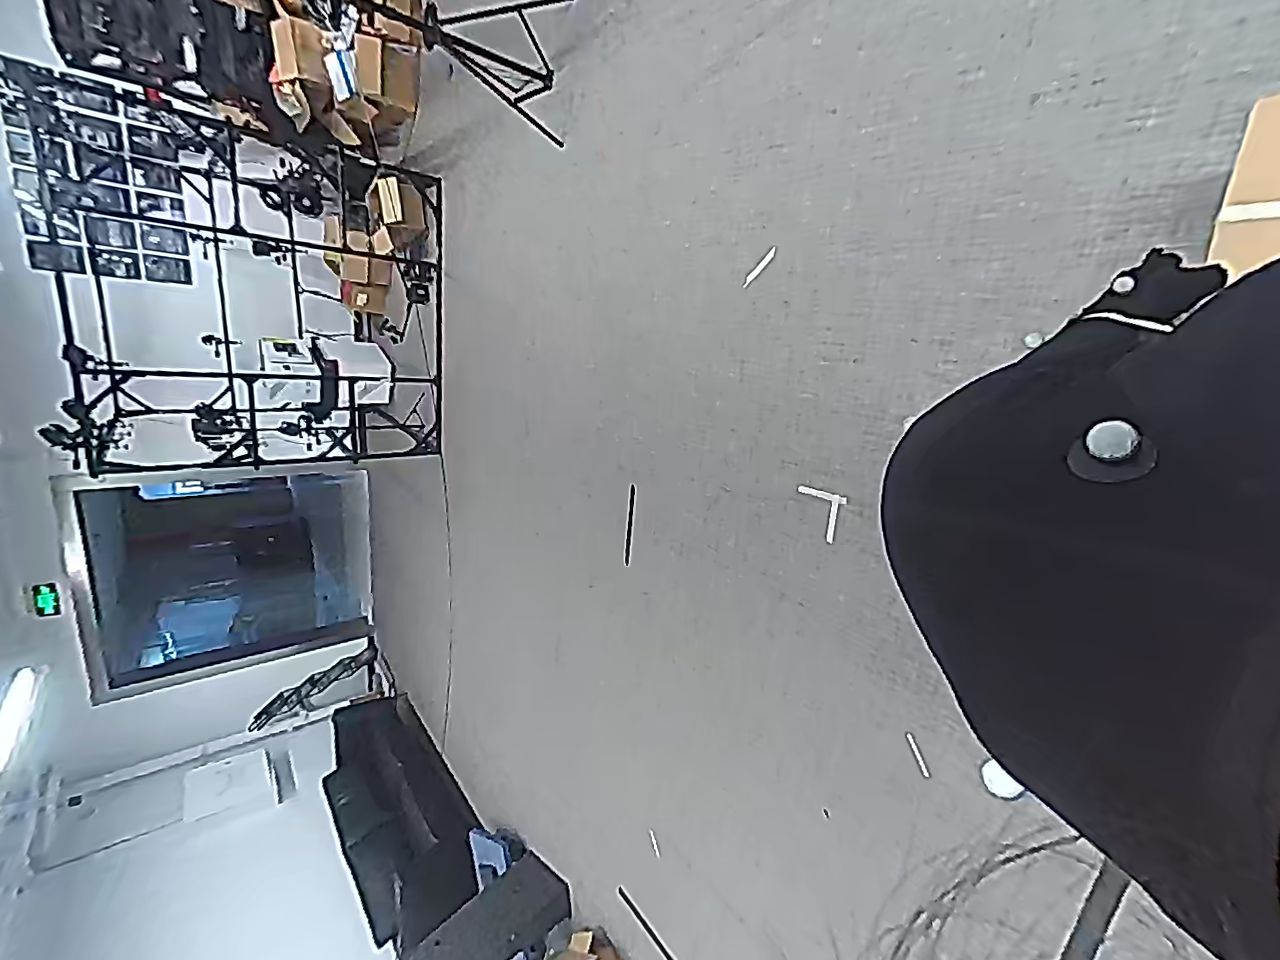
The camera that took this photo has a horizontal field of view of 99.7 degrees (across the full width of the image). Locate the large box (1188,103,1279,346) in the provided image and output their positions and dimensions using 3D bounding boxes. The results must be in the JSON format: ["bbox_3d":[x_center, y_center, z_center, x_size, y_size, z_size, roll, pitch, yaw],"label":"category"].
[{"bbox_3d":[1.119,-0.363,0.777,0.408,0.320,0.320,19,109,47],"label":"large box"}]
